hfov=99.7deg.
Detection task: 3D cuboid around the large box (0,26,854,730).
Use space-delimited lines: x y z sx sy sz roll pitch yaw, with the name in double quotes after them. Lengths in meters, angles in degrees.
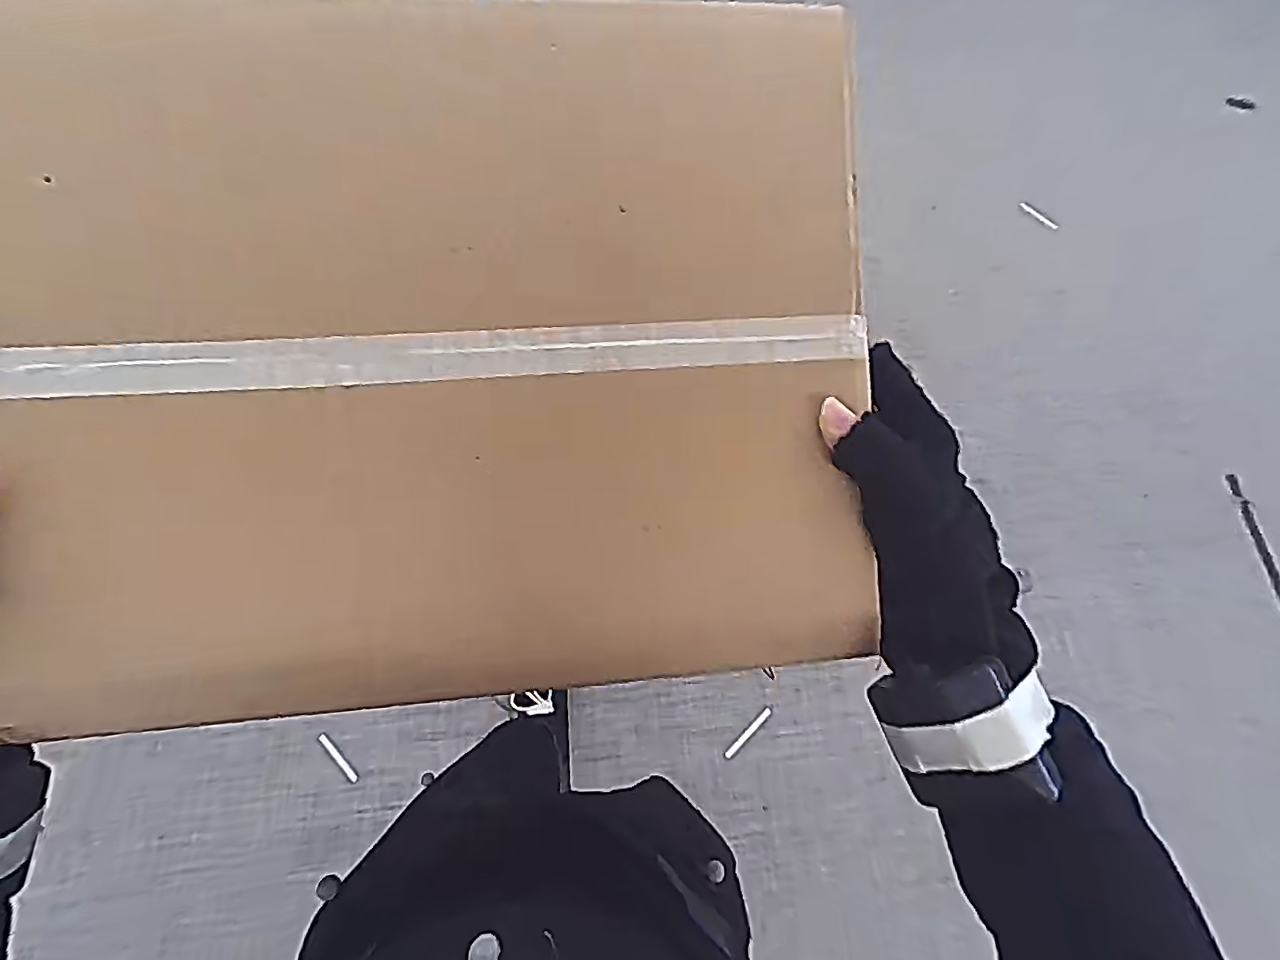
-0.108 -0.060 0.403 0.408 0.320 0.320 -3 92 -6 "large box"
